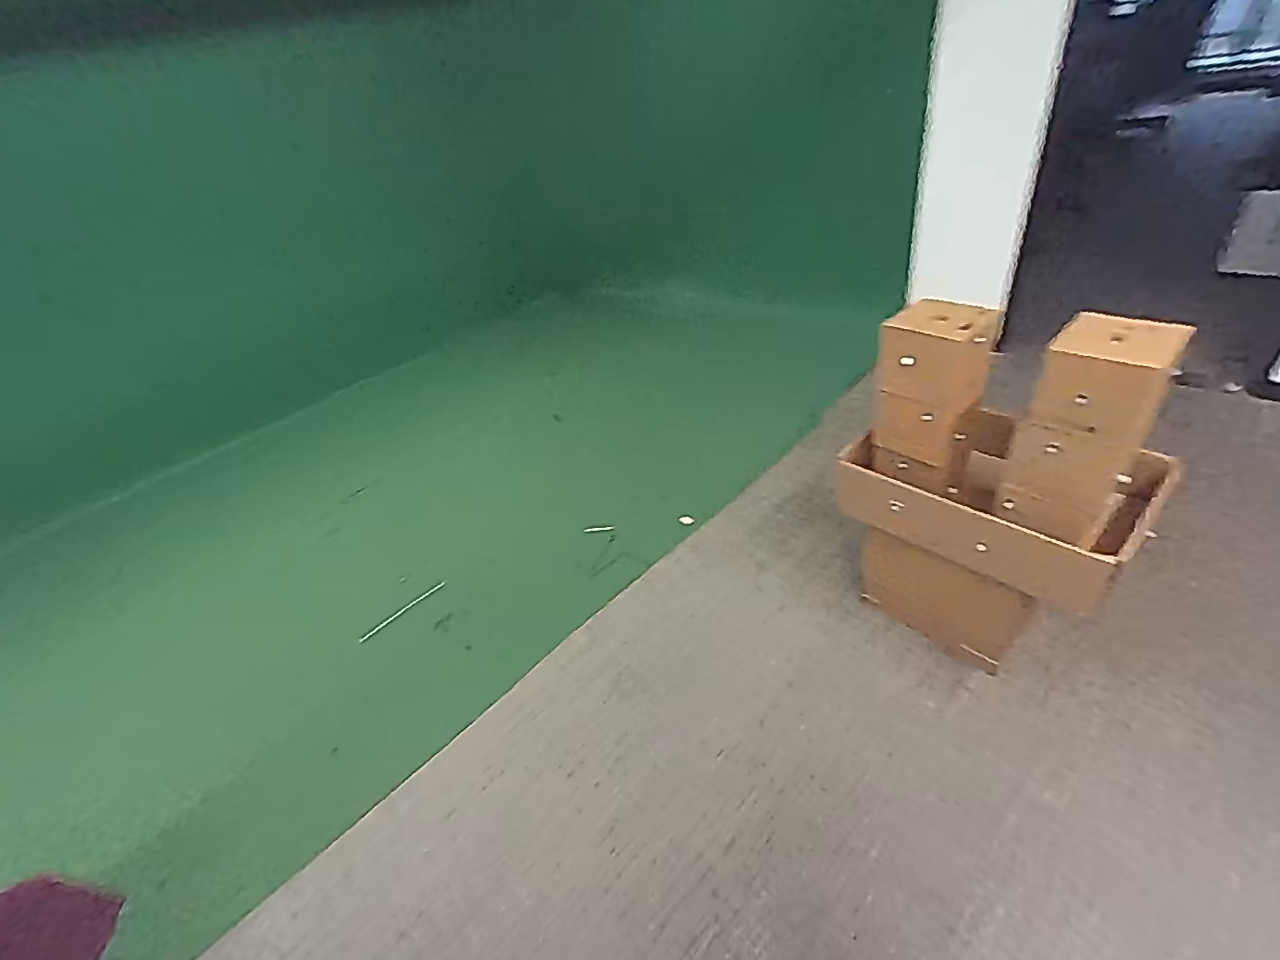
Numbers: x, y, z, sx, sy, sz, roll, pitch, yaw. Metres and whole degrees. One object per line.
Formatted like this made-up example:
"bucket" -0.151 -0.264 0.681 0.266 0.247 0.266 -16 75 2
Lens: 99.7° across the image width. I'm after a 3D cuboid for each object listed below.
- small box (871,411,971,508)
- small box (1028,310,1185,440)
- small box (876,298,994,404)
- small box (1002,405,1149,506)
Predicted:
"small box" 0.739 -0.054 1.439 0.168 0.176 0.179 -35 43 -24
"small box" 0.877 -0.200 1.033 0.179 0.176 0.168 -35 43 -25
"small box" 0.660 -0.294 1.230 0.168 0.176 0.179 -35 42 -23
"small box" 0.901 -0.073 1.136 0.168 0.176 0.179 -34 42 -24
